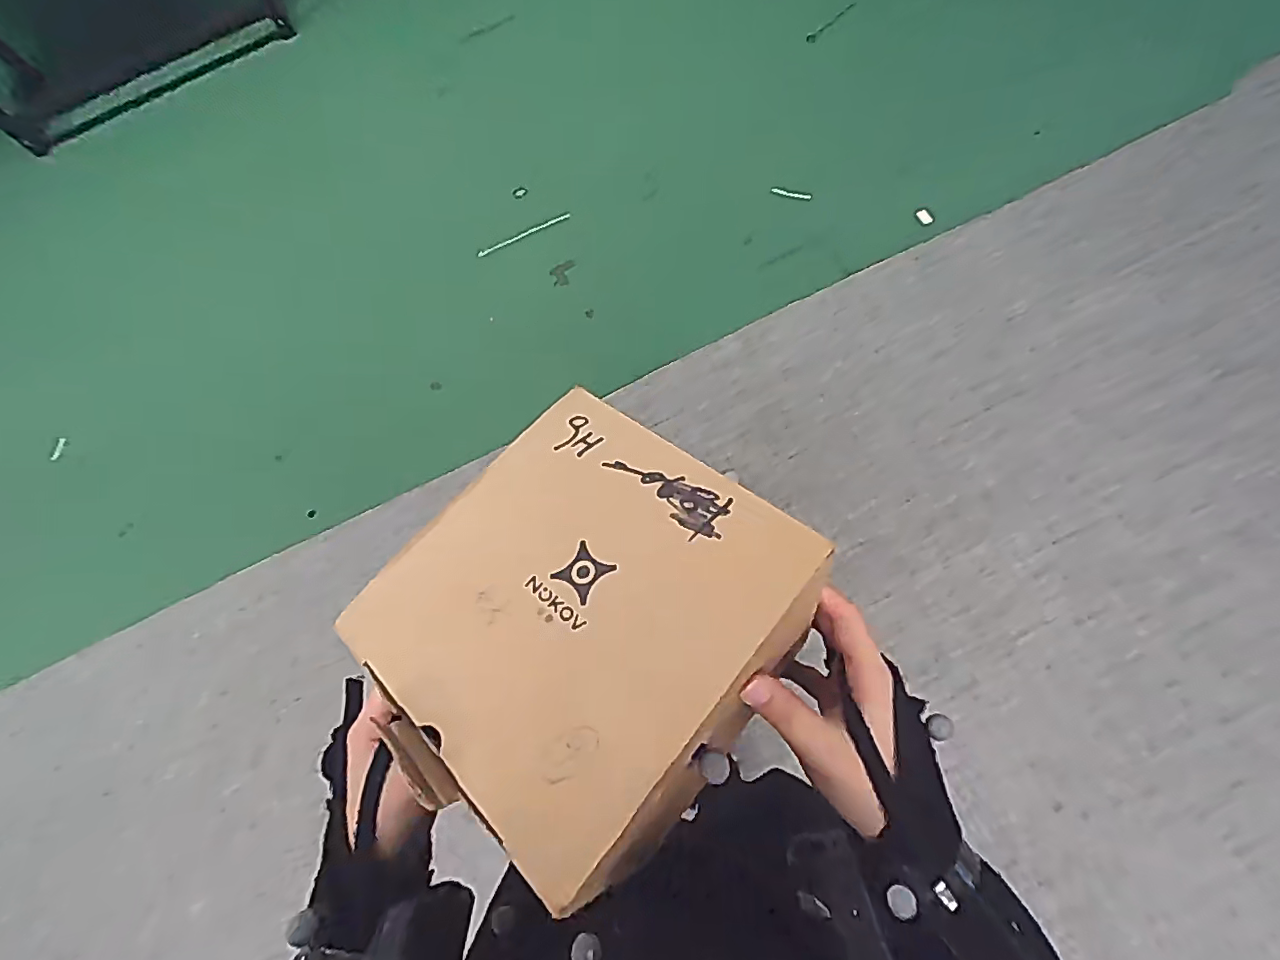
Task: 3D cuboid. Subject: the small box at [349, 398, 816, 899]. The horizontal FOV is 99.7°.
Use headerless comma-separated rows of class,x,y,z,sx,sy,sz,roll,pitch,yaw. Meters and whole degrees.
small box,-0.017,0.092,0.322,0.168,0.176,0.179,34,73,27
